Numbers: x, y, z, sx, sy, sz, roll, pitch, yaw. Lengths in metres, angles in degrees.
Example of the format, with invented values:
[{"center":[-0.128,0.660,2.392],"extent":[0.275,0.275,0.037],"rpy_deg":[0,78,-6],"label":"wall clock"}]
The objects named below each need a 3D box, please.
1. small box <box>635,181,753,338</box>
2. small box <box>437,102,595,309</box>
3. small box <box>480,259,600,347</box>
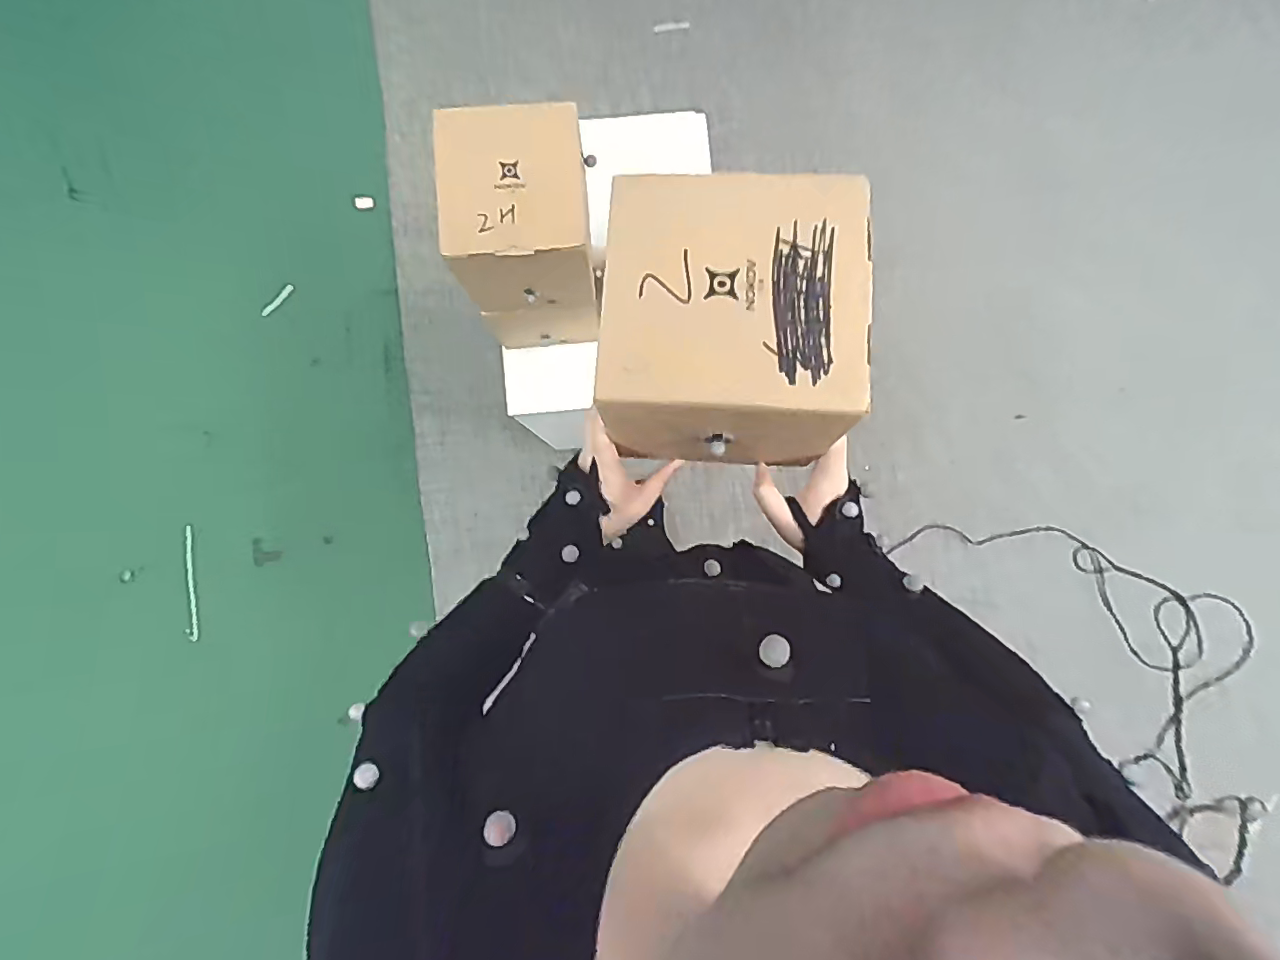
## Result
[{"center":[0.077,-0.340,0.859],"extent":[0.168,0.176,0.179],"rpy_deg":[-4,87,0],"label":"small box"},{"center":[-0.148,-0.338,0.692],"extent":[0.168,0.176,0.179],"rpy_deg":[-4,87,-1],"label":"small box"},{"center":[-0.154,-0.325,0.856],"extent":[0.168,0.176,0.179],"rpy_deg":[-5,88,-1],"label":"small box"}]
